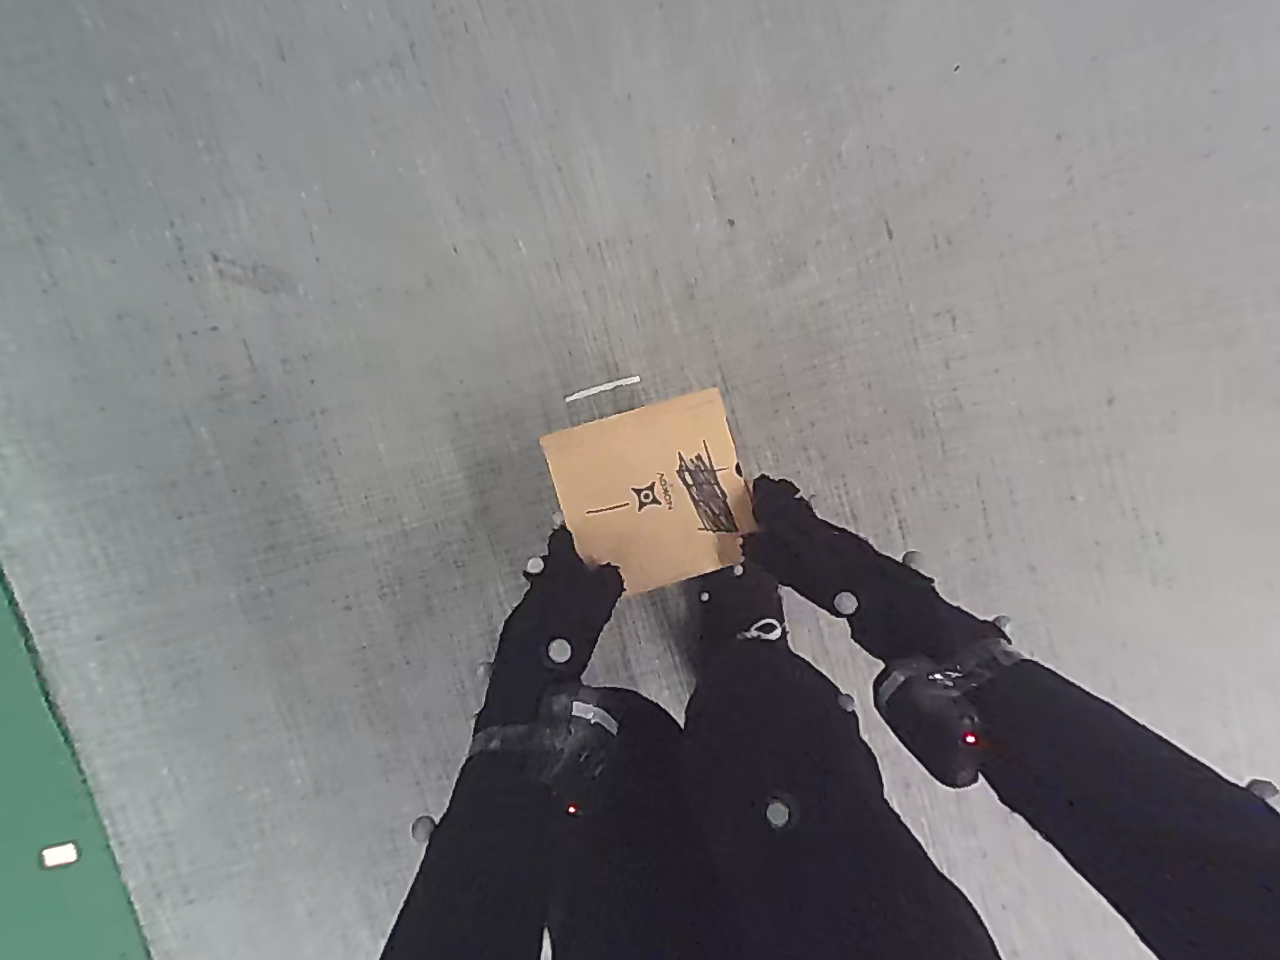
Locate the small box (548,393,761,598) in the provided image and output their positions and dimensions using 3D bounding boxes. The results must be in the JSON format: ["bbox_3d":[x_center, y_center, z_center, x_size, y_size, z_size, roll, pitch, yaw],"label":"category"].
[{"bbox_3d":[0.008,0.017,0.588,0.179,0.176,0.168,-14,87,-4],"label":"small box"}]
